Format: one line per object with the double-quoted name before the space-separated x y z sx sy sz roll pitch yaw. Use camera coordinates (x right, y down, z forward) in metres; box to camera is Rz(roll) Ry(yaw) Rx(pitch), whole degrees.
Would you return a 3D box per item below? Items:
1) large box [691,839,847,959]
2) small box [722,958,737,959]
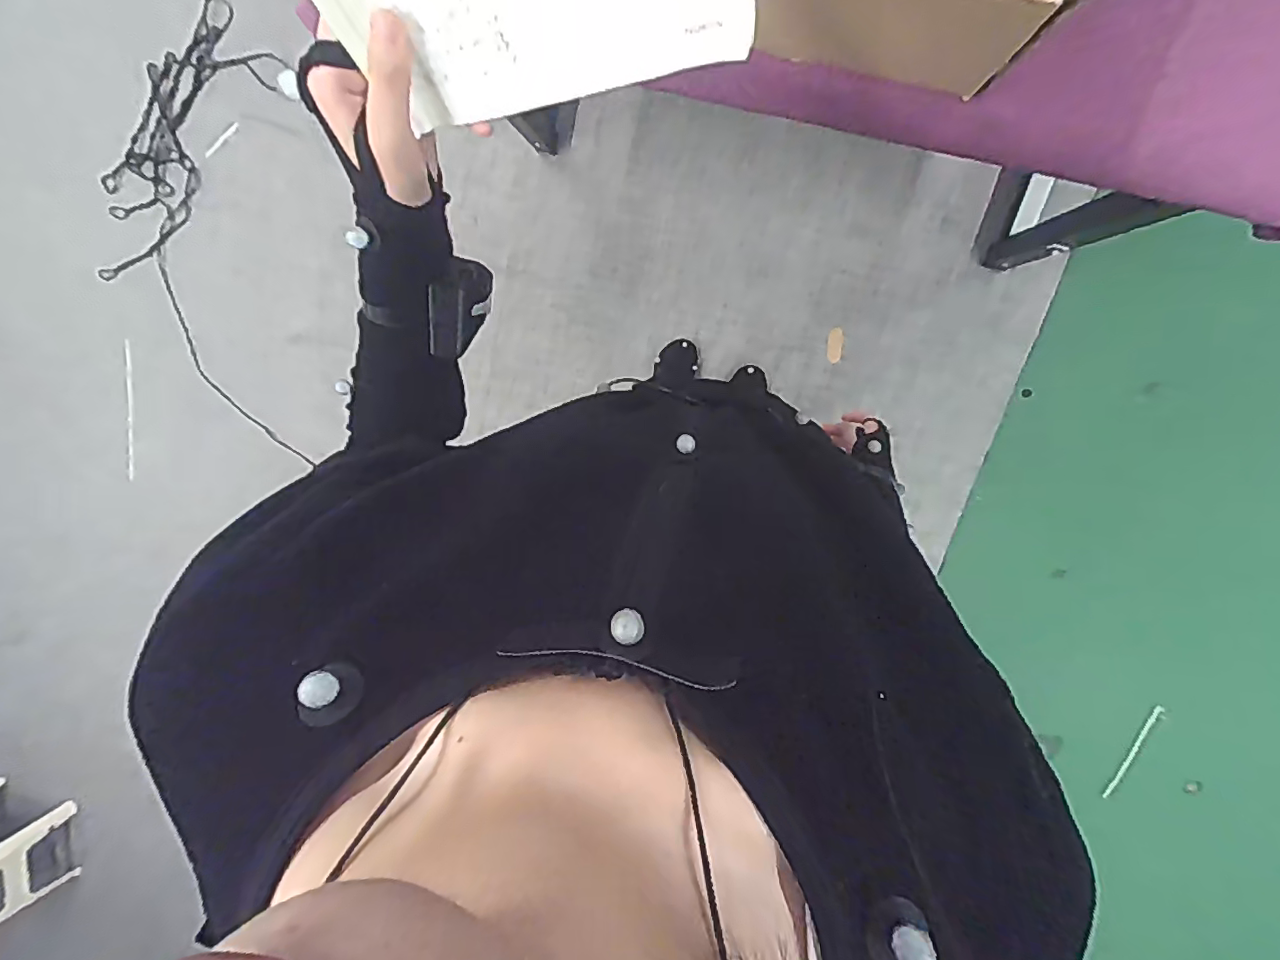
"large box" 0.357 1.321 1.585 0.408 0.320 0.320 1 103 8
"small box" 0.277 1.356 1.353 0.168 0.176 0.179 2 102 9
